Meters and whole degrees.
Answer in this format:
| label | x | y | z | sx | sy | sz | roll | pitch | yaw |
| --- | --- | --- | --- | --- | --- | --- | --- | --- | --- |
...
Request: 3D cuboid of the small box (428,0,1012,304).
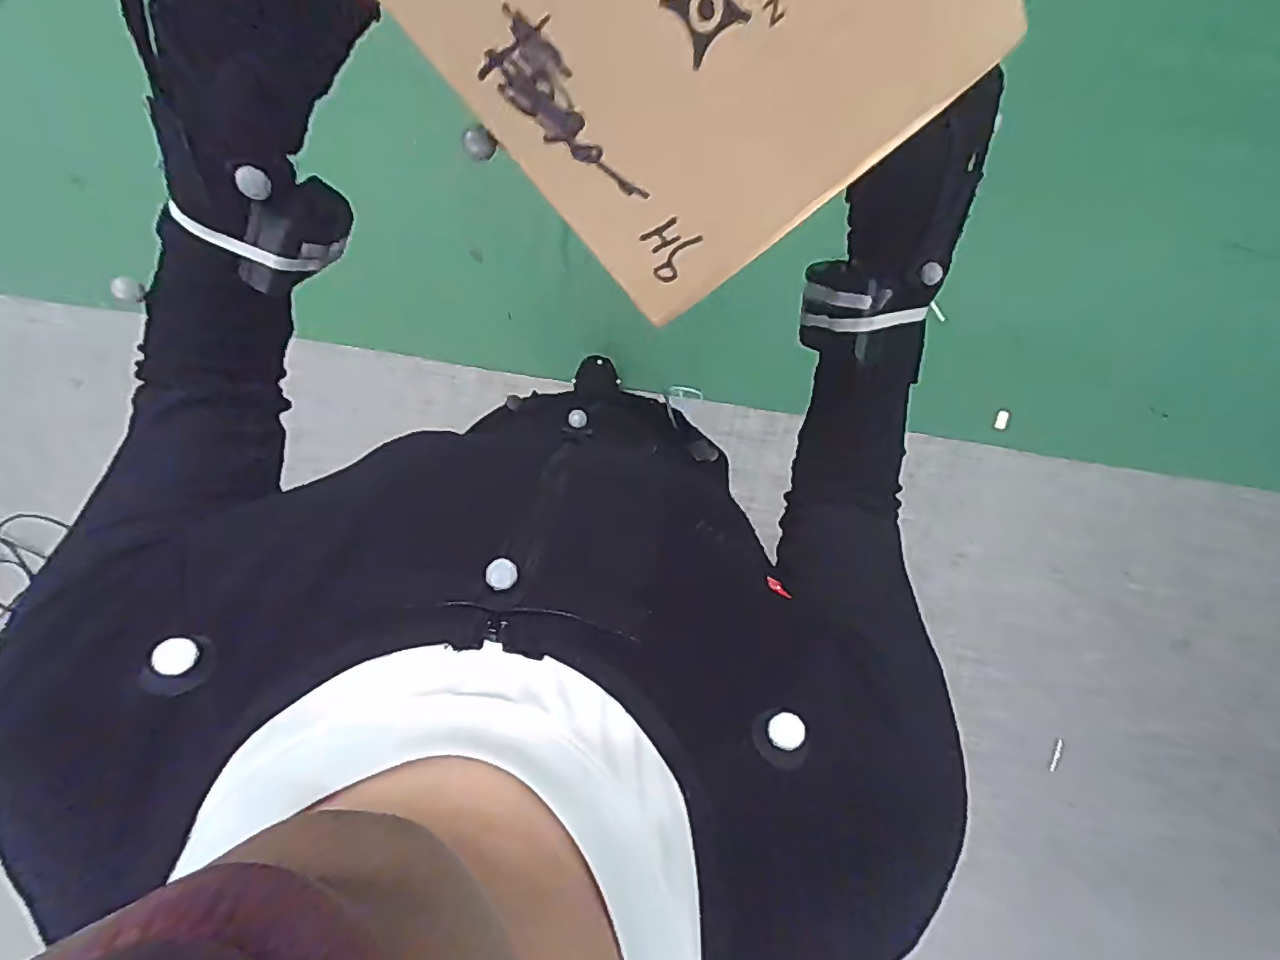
| label | x | y | z | sx | sy | sz | roll | pitch | yaw |
| --- | --- | --- | --- | --- | --- | --- | --- | --- | --- |
| small box | 0.014 | -0.223 | 0.239 | 0.179 | 0.176 | 0.168 | -36 | 131 | 15 |
